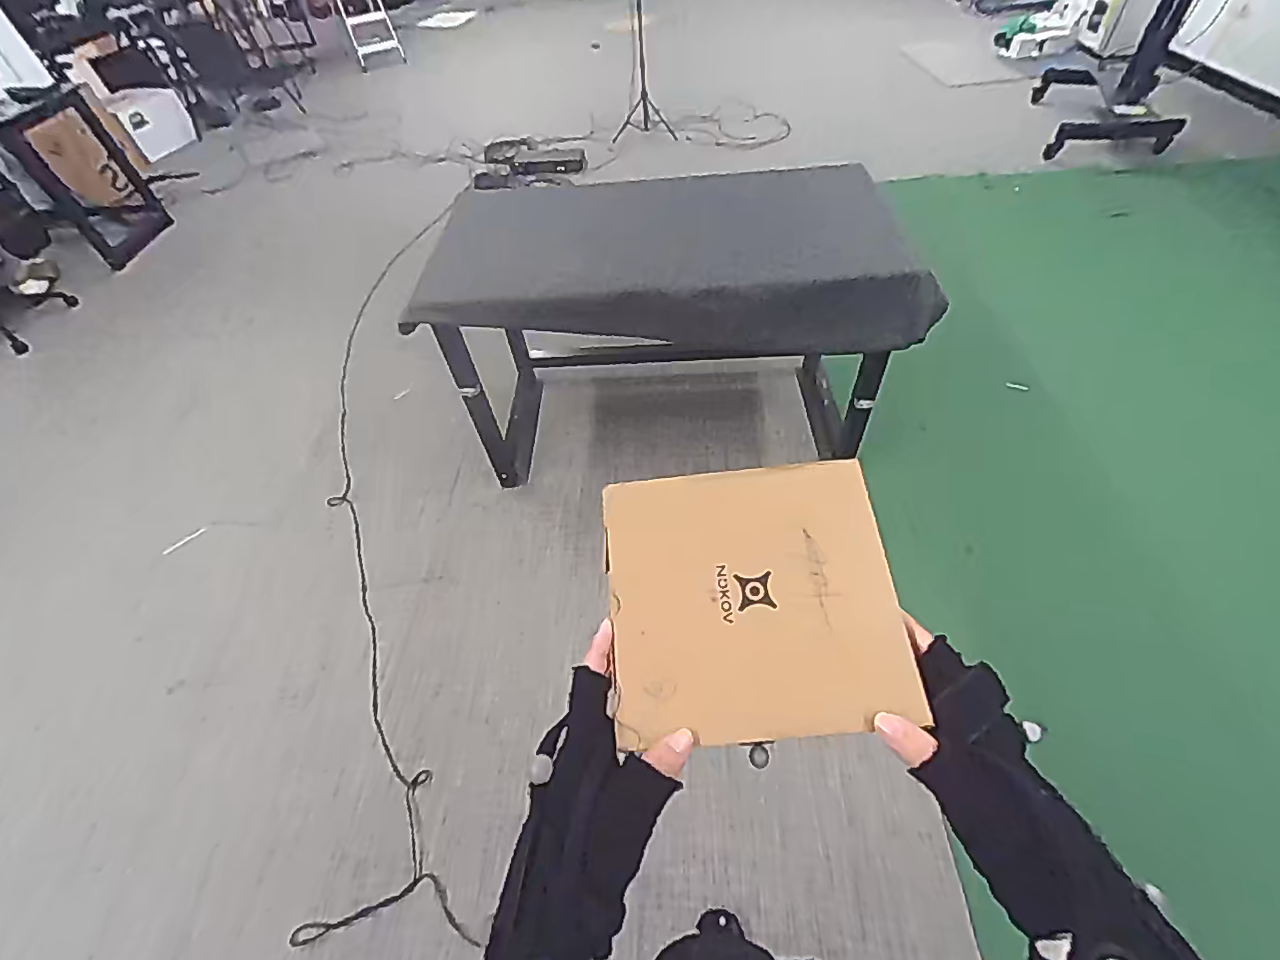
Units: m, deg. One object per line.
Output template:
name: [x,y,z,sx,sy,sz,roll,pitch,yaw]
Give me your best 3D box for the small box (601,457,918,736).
small box: [0.071,0.099,0.411,0.179,0.176,0.168,-6,66,1]
